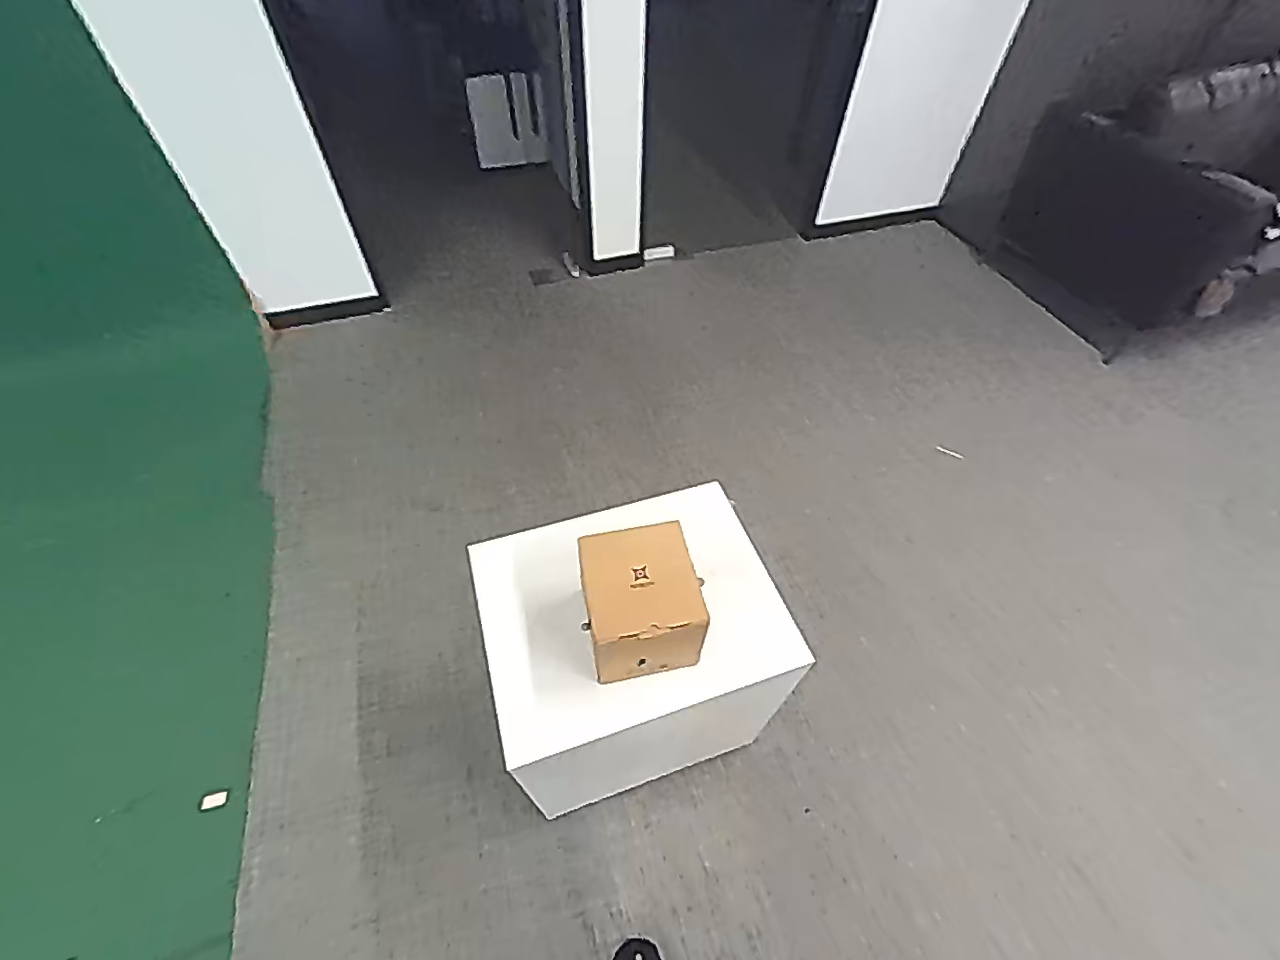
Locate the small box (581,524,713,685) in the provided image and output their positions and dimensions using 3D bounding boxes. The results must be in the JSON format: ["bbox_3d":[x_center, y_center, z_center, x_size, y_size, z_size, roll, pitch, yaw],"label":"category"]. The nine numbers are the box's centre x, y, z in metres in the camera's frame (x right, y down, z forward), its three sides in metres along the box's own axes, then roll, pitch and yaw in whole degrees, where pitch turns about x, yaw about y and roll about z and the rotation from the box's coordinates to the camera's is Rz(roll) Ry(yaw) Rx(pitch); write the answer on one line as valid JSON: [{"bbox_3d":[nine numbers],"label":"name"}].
[{"bbox_3d":[0.003,0.196,0.850,0.168,0.176,0.179,-10,52,-9],"label":"small box"}]
